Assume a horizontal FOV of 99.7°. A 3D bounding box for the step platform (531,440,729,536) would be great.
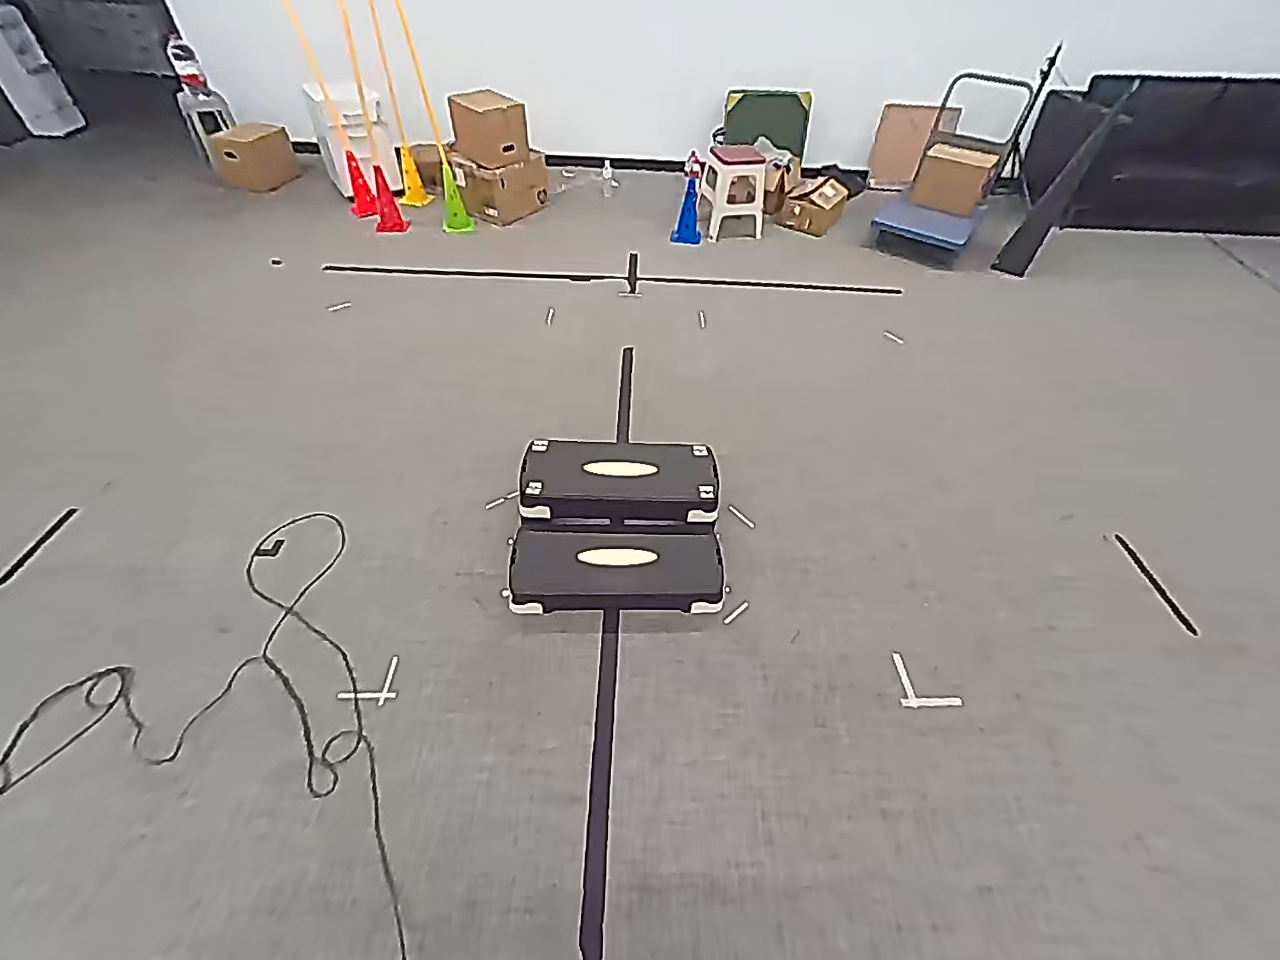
[{"bbox_3d":[-0.035,0.024,1.901,0.684,0.204,0.286,2,47,-3],"label":"step platform"}]
